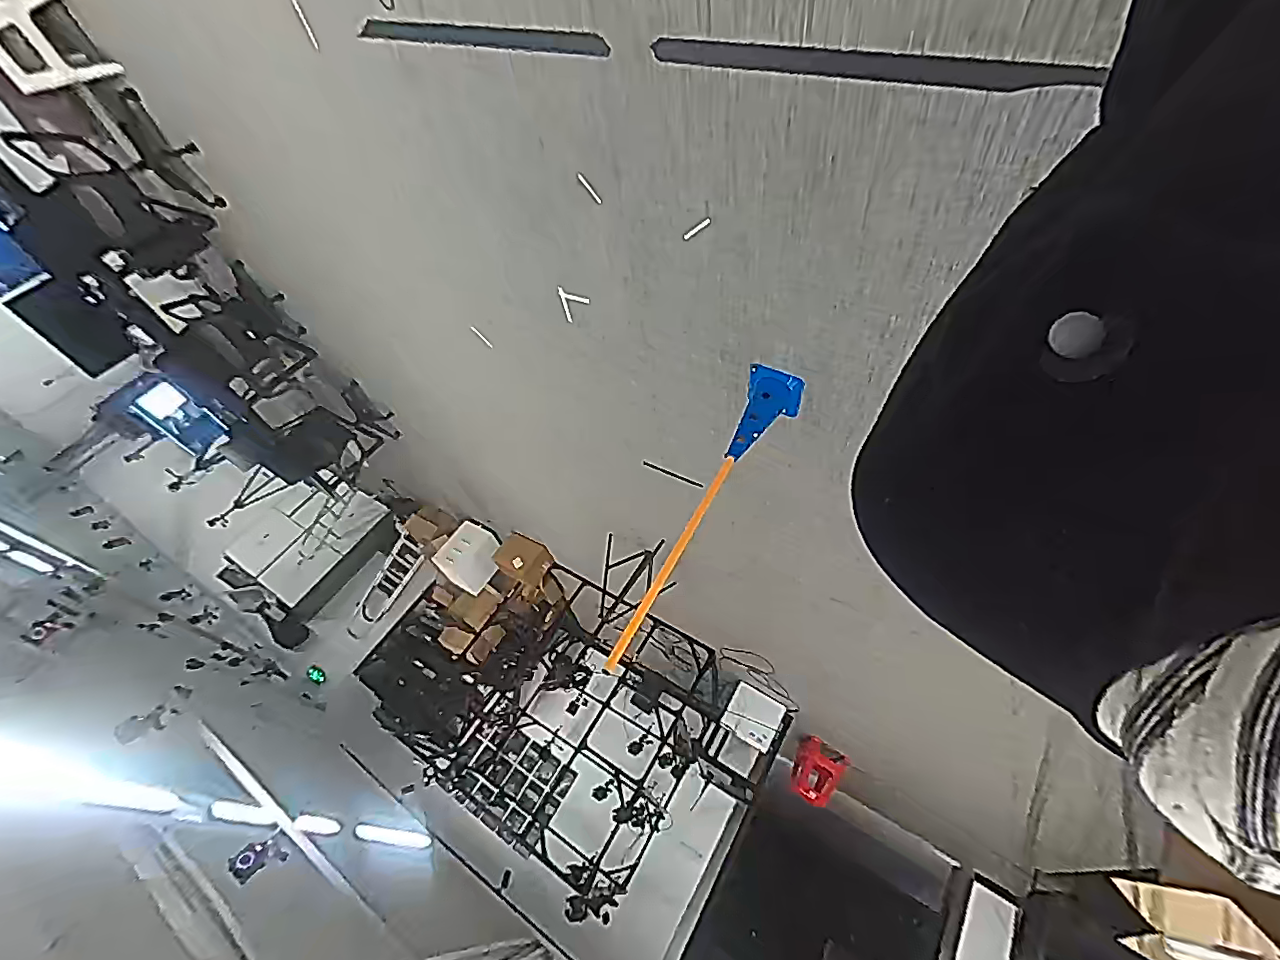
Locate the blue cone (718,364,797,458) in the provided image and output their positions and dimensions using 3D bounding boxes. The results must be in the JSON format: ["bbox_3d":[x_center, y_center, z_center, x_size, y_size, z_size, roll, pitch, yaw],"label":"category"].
[{"bbox_3d":[0.390,-0.215,1.908,0.192,0.380,0.193,26,152,21],"label":"blue cone"}]
